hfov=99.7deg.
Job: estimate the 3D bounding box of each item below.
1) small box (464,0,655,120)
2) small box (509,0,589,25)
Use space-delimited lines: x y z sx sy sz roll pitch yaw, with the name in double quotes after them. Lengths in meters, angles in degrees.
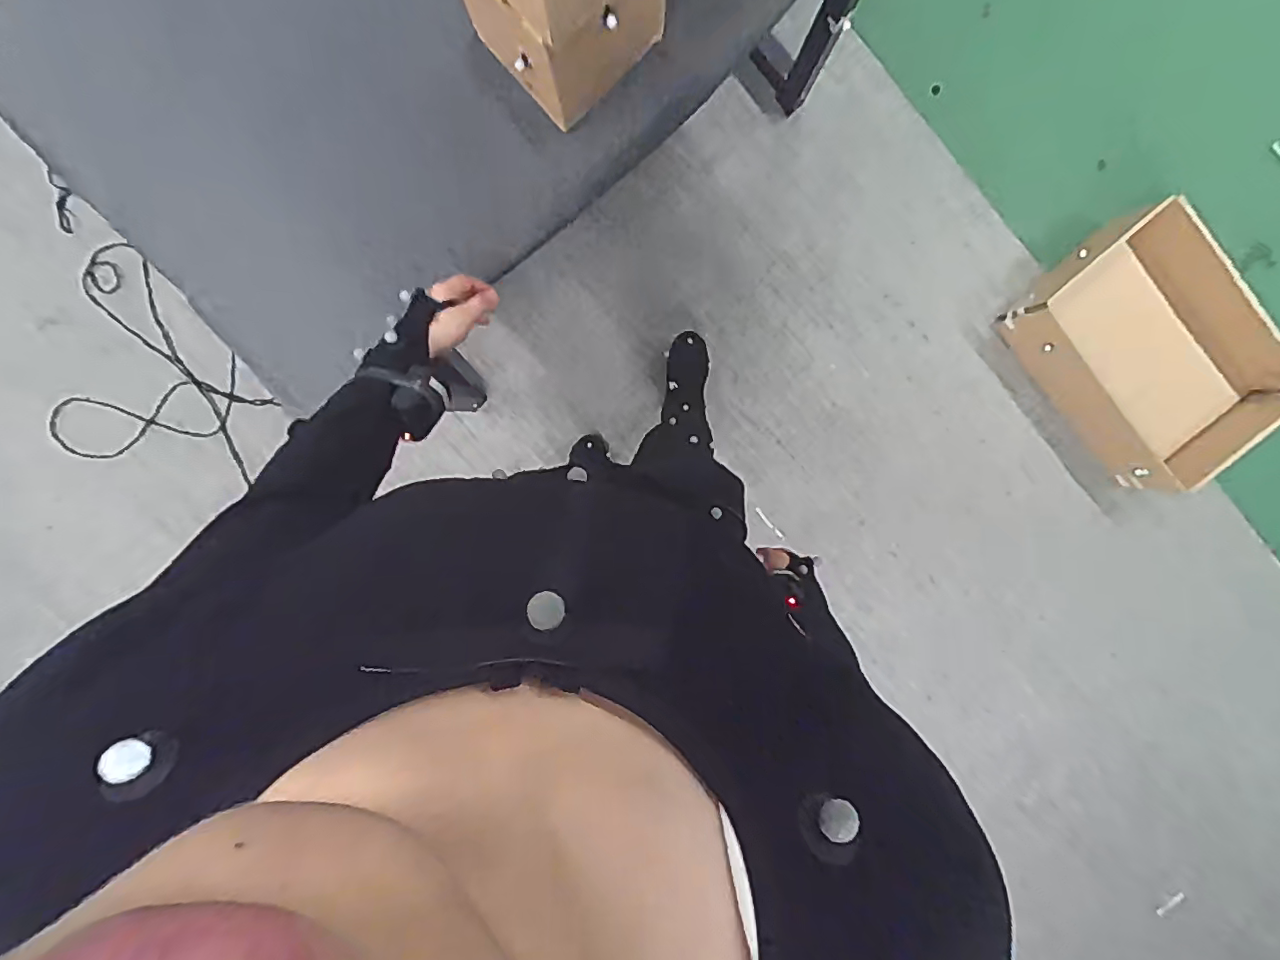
-0.092 -0.553 0.595 0.179 0.176 0.168 -43 96 3 "small box"
-0.083 -0.526 0.433 0.168 0.176 0.179 -43 96 4 "small box"
